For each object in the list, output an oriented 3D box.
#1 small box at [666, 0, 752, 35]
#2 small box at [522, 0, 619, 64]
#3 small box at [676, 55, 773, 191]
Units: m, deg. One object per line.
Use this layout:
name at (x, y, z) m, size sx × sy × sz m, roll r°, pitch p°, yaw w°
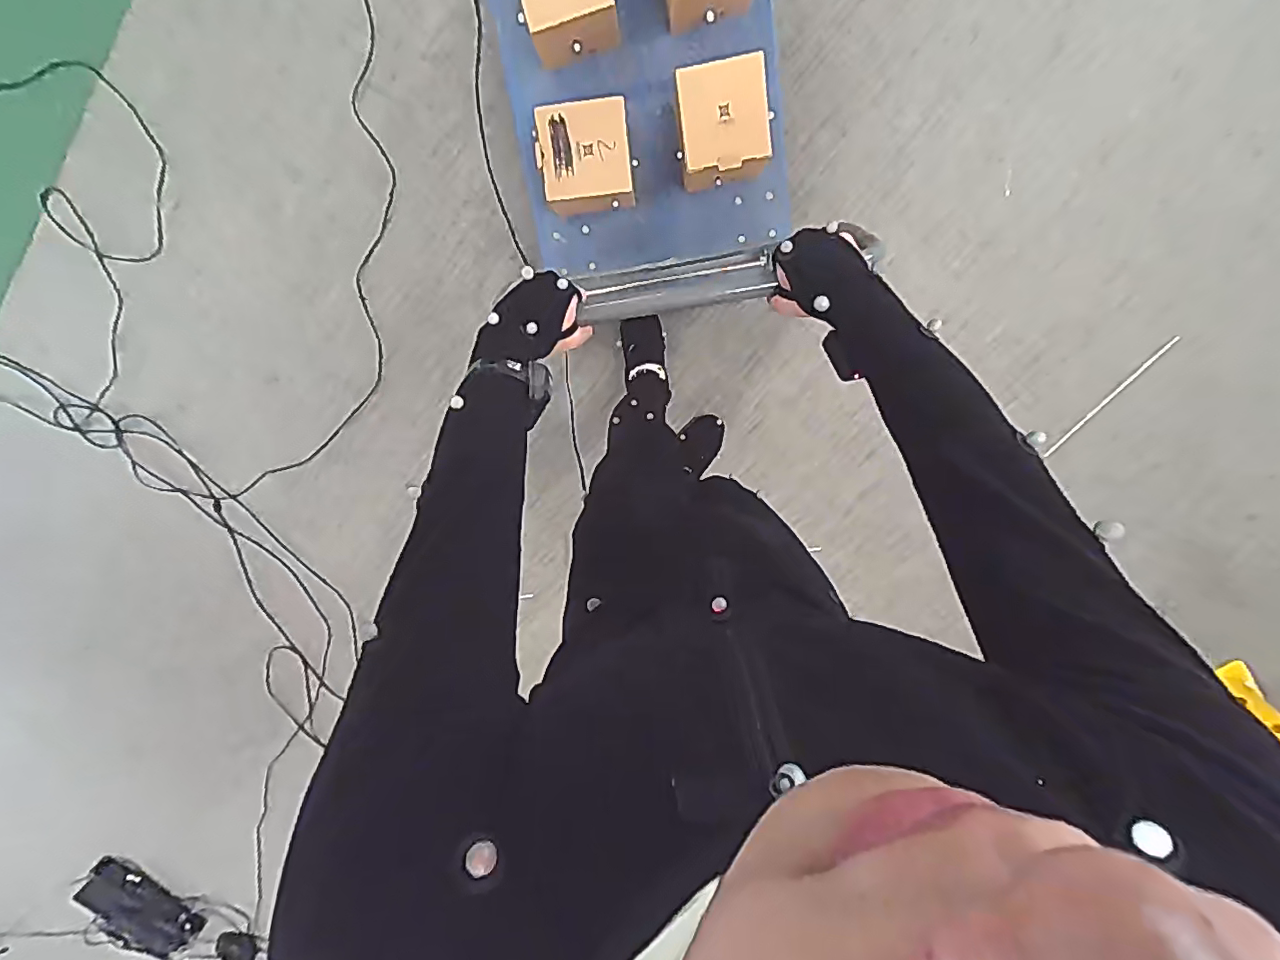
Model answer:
small box at (0.123, -0.993, 1.012) m, size 0.168 × 0.176 × 0.179 m, roll -13°, pitch 107°, yaw 7°
small box at (-0.140, -0.939, 1.037) m, size 0.168 × 0.176 × 0.179 m, roll -14°, pitch 106°, yaw 5°
small box at (0.166, -0.712, 1.098) m, size 0.168 × 0.176 × 0.179 m, roll -8°, pitch 107°, yaw 5°
